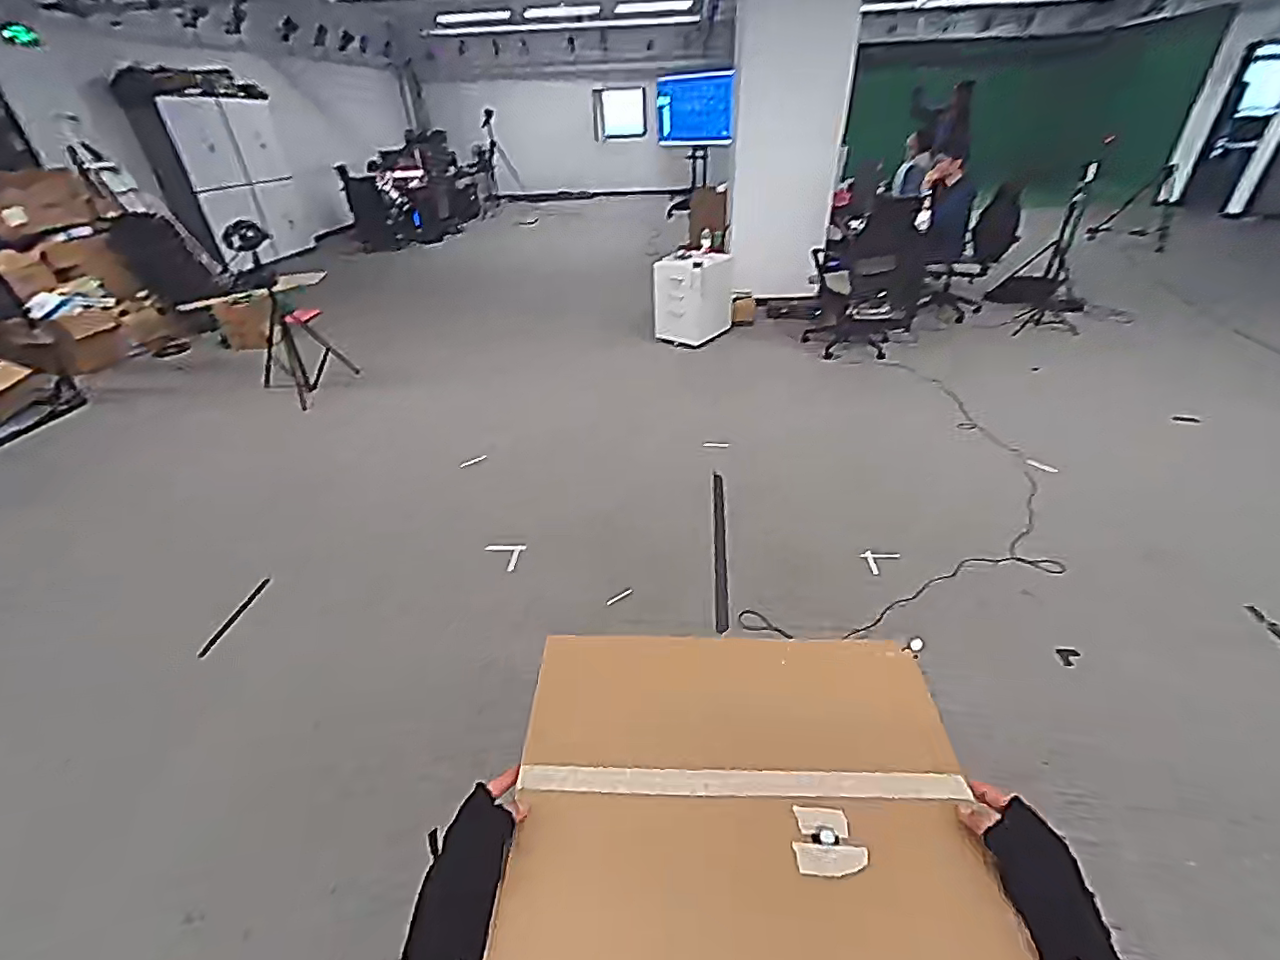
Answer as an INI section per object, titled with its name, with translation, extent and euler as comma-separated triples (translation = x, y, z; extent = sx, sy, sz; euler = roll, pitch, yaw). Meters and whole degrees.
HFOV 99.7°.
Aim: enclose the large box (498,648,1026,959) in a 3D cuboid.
[large box]
translation = 0.095, 0.406, 0.586
extent = 0.408, 0.320, 0.320
euler = 1, 39, 3
